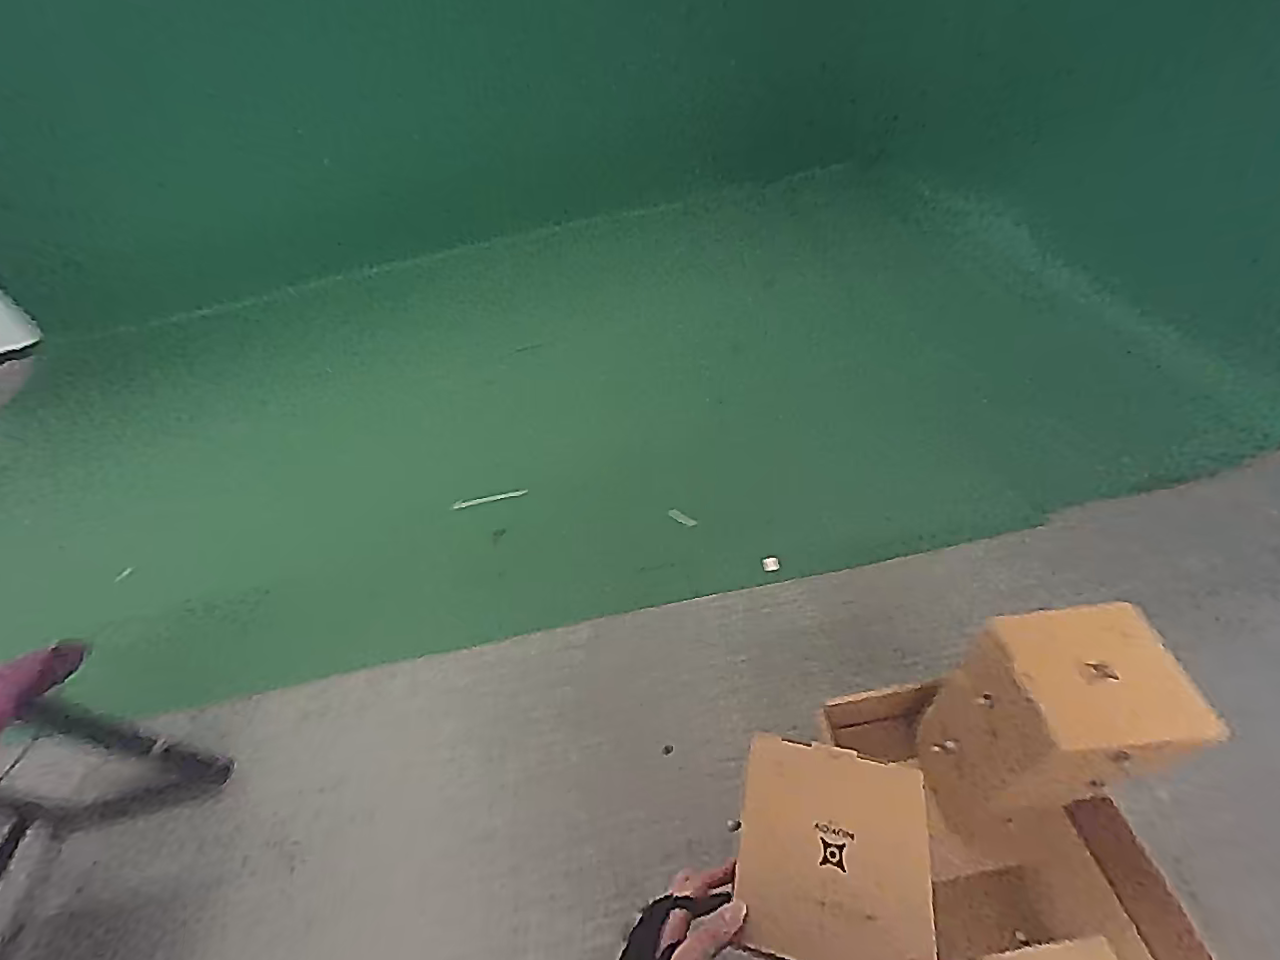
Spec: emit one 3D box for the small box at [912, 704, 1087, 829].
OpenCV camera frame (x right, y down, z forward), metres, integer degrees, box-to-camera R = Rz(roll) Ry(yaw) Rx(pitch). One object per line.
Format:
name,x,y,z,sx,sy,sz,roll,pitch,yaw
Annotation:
small box,0.611,0.493,0.948,0.179,0.176,0.168,-11,46,2

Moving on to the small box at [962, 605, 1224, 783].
small box,0.562,0.282,0.706,0.179,0.176,0.168,-8,48,6

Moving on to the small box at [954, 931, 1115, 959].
small box,0.560,0.740,0.738,0.179,0.176,0.168,-11,48,1

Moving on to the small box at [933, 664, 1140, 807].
small box,0.585,0.386,0.829,0.179,0.176,0.168,-9,47,4

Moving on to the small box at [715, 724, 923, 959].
small box,0.170,0.382,0.553,0.168,0.176,0.179,8,50,12
